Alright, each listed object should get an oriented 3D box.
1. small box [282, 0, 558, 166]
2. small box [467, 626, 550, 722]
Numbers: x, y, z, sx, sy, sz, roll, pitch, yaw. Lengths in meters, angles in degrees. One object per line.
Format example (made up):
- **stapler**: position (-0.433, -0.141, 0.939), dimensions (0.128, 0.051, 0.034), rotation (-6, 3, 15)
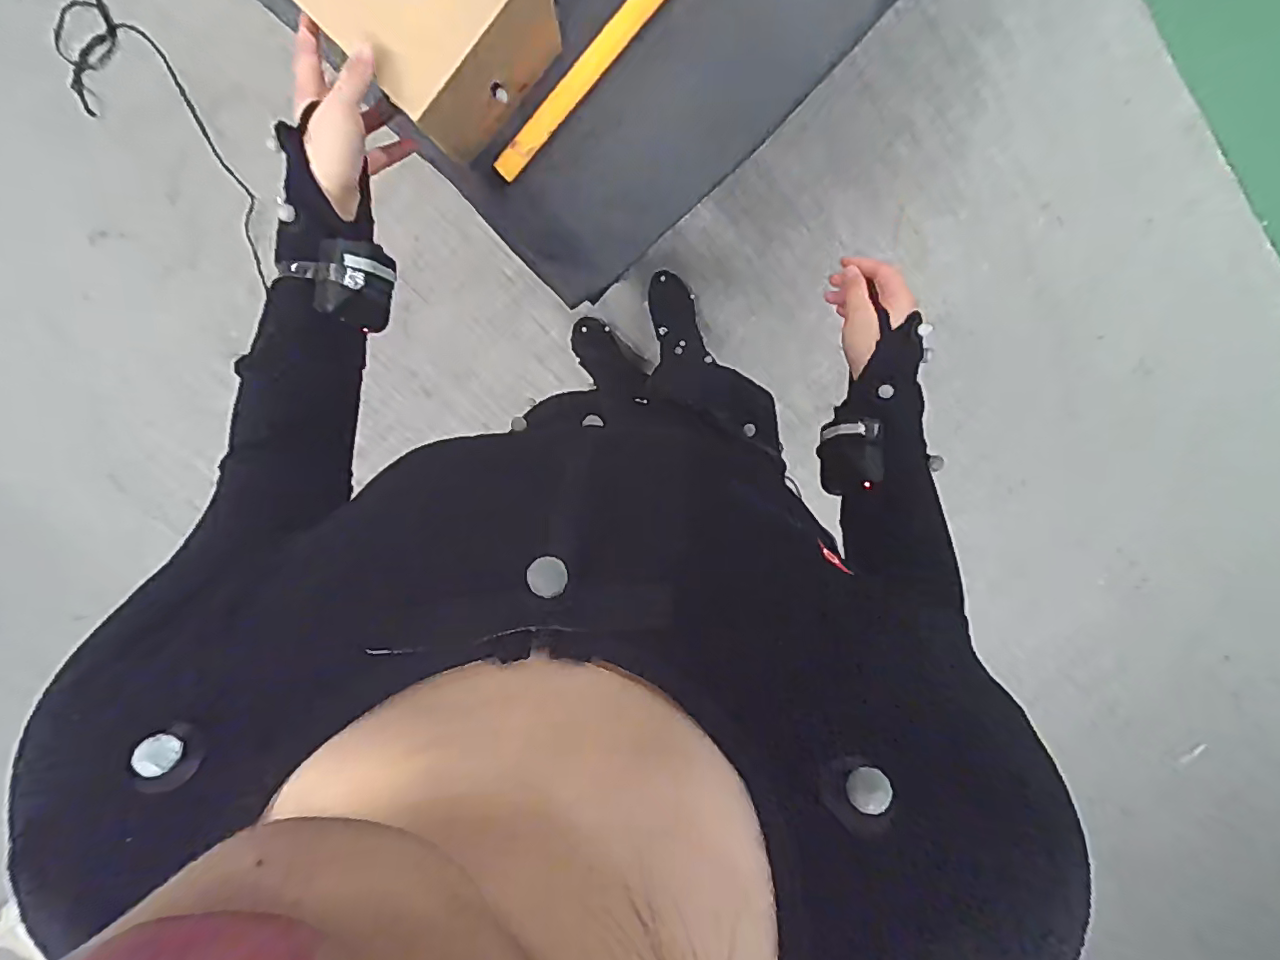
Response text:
- **small box**: position (-0.193, -0.426, 0.501), dimensions (0.179, 0.176, 0.168), rotation (42, 100, -14)
- **small box**: position (-0.388, 0.578, 1.632), dimensions (0.168, 0.176, 0.179), rotation (39, 105, -14)
